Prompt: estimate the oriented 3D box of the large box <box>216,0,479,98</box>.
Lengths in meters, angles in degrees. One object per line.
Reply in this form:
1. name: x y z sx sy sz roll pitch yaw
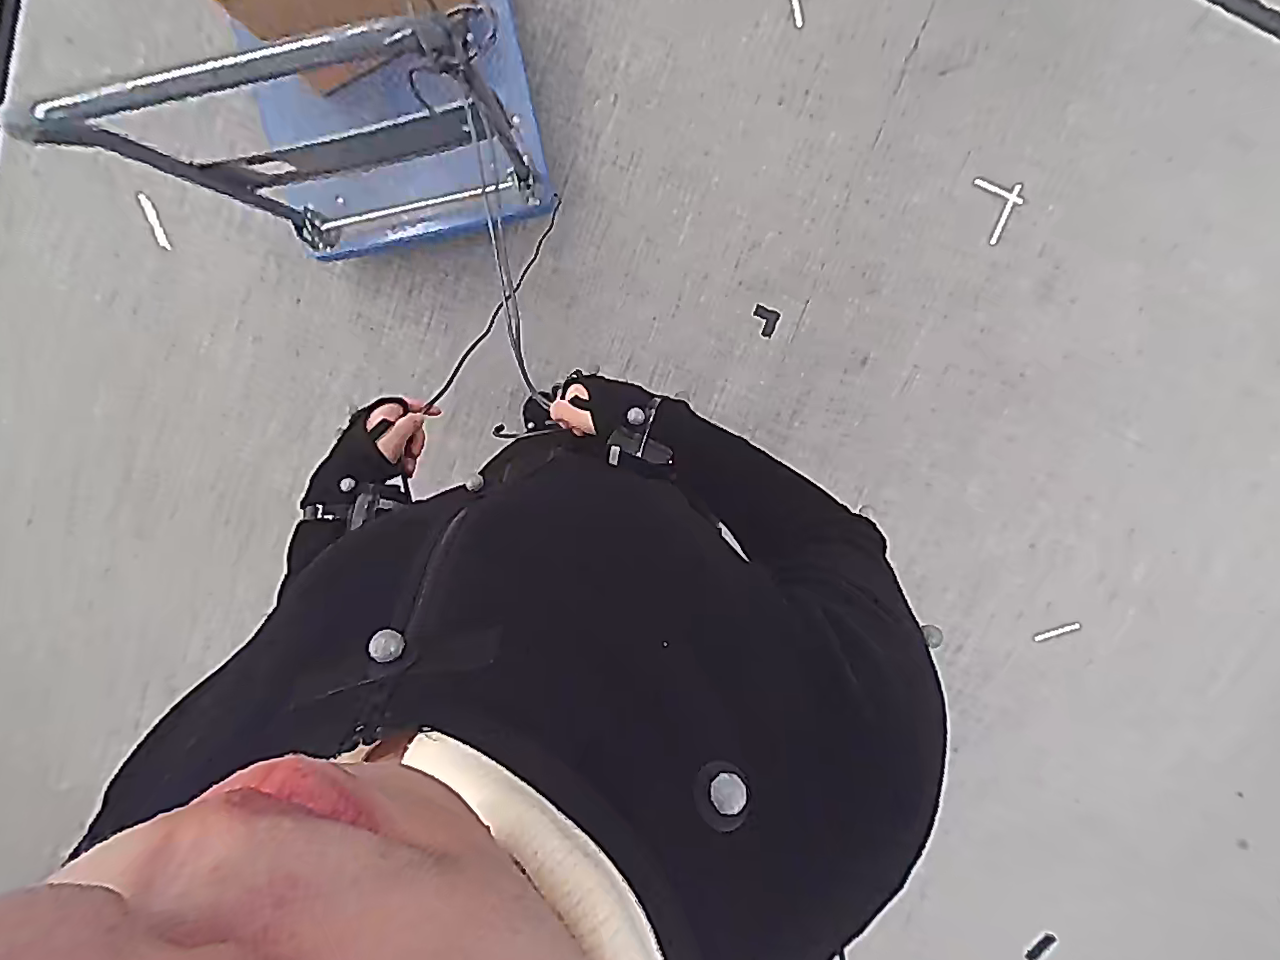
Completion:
1. large box: -0.571 -1.002 0.970 0.408 0.320 0.320 -26 101 3
